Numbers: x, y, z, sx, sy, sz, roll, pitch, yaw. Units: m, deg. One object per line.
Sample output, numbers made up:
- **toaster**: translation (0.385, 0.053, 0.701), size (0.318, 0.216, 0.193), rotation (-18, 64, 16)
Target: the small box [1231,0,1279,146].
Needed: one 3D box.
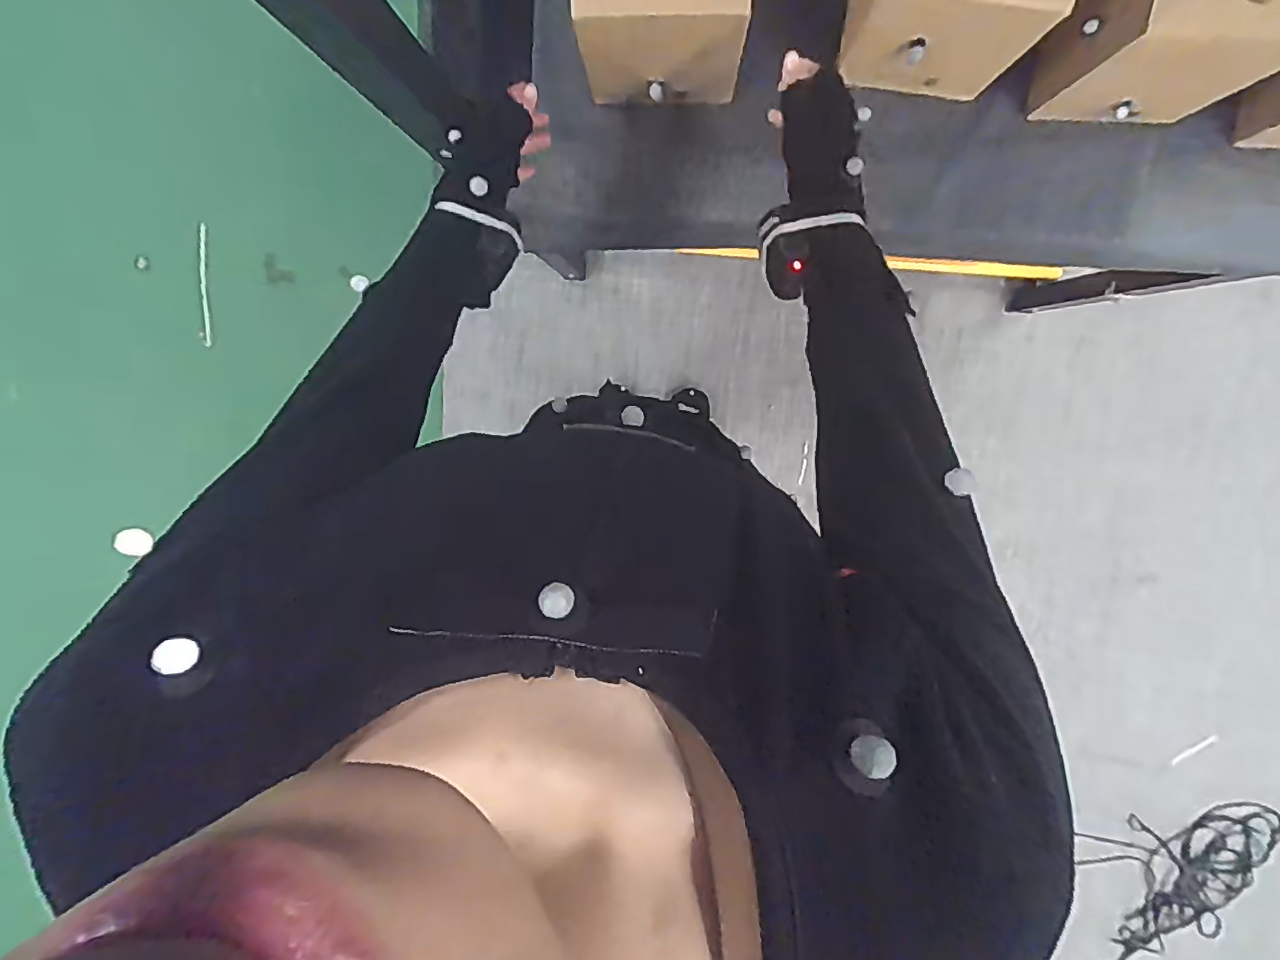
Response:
- **small box**: translation (0.757, -0.446, 0.528), size (0.168, 0.176, 0.179), rotation (4, 101, 2)

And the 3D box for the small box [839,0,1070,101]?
- **small box**: translation (0.315, -0.519, 0.542), size (0.168, 0.176, 0.179), rotation (9, 102, 1)

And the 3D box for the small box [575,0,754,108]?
- **small box**: translation (0.027, -0.519, 0.555), size (0.168, 0.176, 0.179), rotation (2, 102, 3)
